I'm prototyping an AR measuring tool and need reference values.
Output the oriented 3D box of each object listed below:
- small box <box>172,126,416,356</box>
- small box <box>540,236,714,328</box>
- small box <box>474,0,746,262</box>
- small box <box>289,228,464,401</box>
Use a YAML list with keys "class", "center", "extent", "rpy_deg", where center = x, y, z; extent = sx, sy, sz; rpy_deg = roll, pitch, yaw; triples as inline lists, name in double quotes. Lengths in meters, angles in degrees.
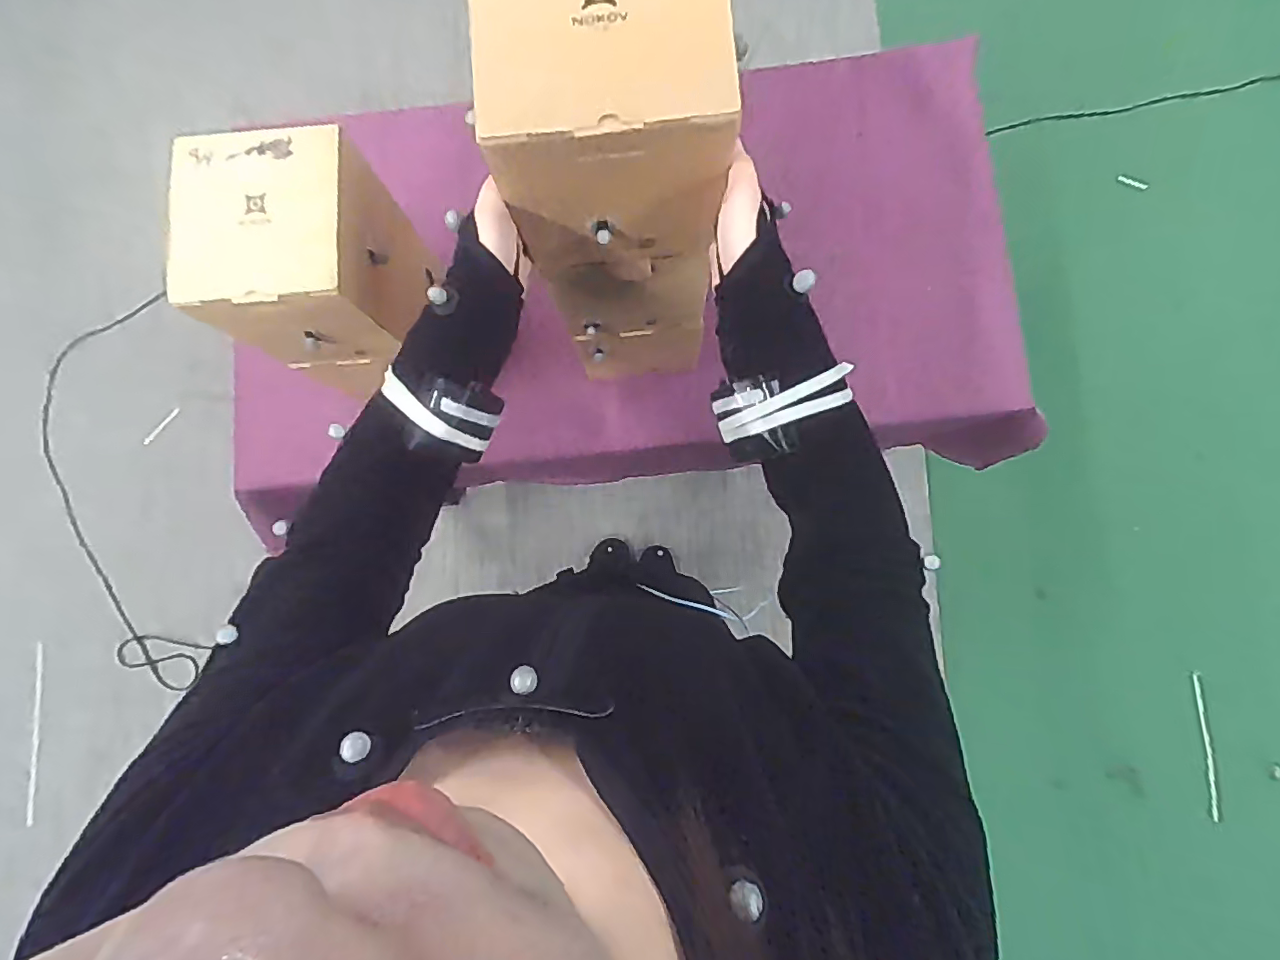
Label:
- class: "small box"
  center: [-0.360, -0.243, 0.595]
  extent: [0.168, 0.176, 0.179]
  rpy_deg: [-4, 83, 0]
- class: "small box"
  center: [-0.014, -0.278, 0.589]
  extent: [0.168, 0.176, 0.179]
  rpy_deg: [-6, 82, 1]
- class: "small box"
  center: [-0.022, -0.295, 0.416]
  extent: [0.168, 0.176, 0.179]
  rpy_deg: [-5, 87, 1]
- class: "small box"
  center: [-0.355, -0.221, 0.758]
  extent: [0.168, 0.176, 0.179]
  rpy_deg: [-4, 83, 2]
